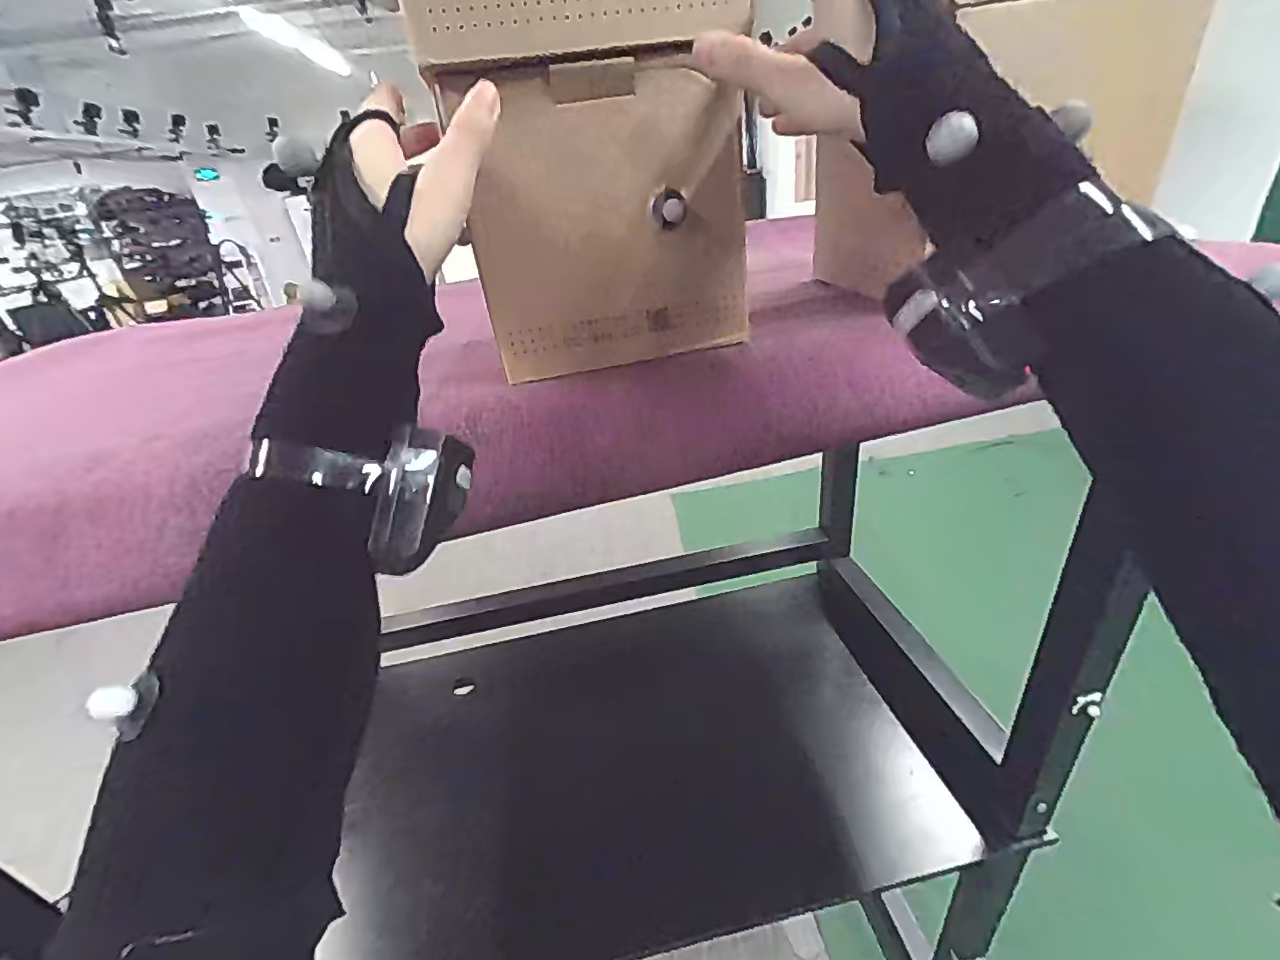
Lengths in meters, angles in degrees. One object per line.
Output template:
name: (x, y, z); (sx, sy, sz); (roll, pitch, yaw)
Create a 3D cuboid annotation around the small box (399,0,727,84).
small box: (-0.053, -0.329, 0.304); (0.179, 0.176, 0.168); (-13, 28, -8)

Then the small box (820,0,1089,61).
small box: (0.223, -0.384, 0.329); (0.168, 0.176, 0.179); (-10, 30, -3)

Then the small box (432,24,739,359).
small box: (-0.030, -0.193, 0.394); (0.168, 0.176, 0.179); (-10, 28, -4)
